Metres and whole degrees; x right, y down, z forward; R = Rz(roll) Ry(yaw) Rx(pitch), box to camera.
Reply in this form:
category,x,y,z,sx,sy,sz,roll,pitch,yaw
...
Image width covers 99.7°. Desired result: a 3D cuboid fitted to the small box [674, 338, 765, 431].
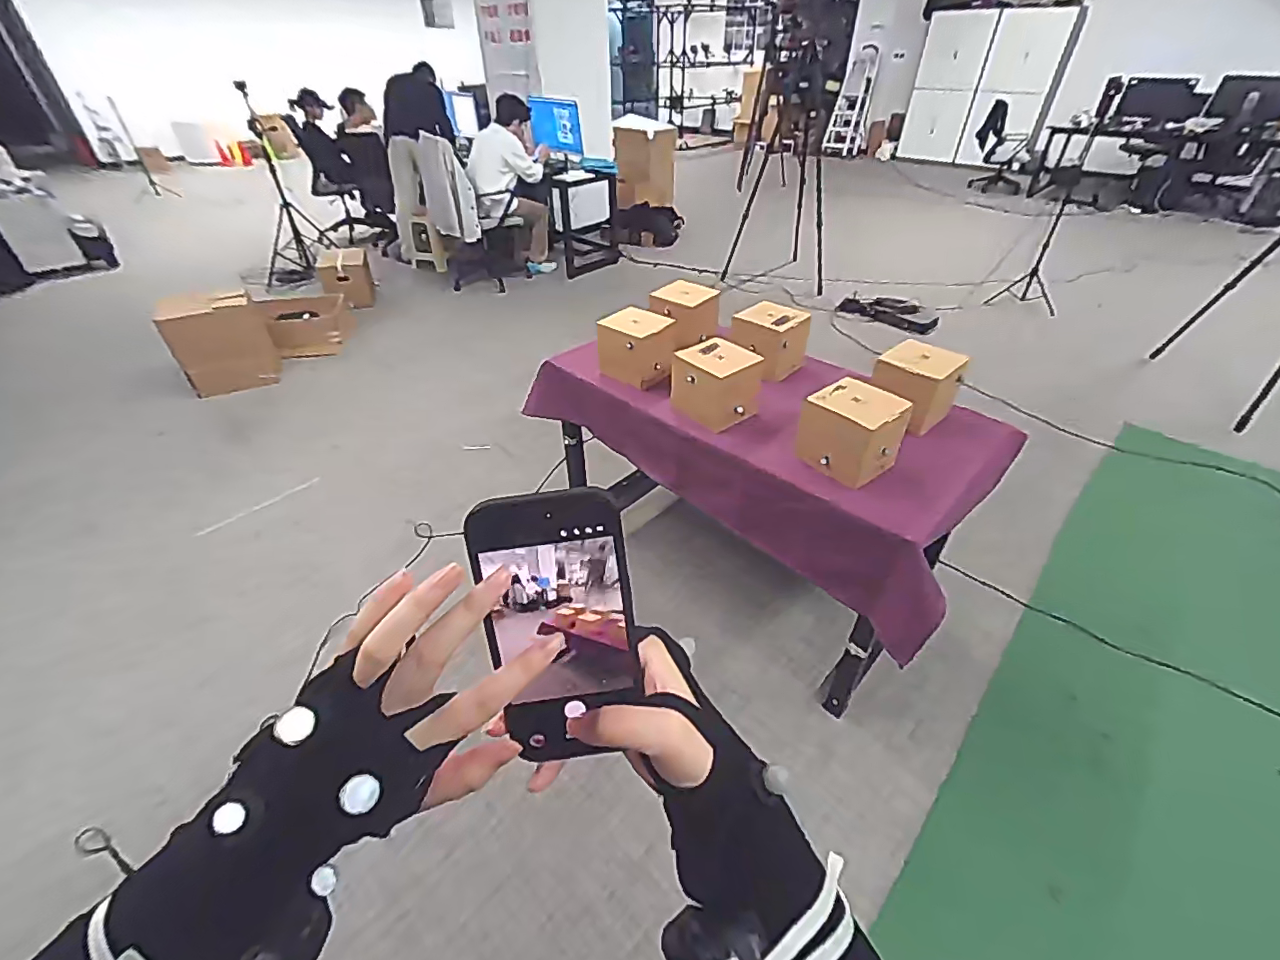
category,x,y,z,sx,sy,sz,roll,pitch,yaw
small box,0.206,-0.255,1.448,0.168,0.176,0.179,-28,47,-30

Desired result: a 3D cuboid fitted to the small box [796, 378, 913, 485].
category,x,y,z,sx,sy,sz,roll,pitch,yaw
small box,0.493,-0.109,1.265,0.168,0.176,0.179,-26,46,-29

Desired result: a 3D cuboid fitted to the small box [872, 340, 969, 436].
category,x,y,z,sx,sy,sz,roll,pitch,yaw
small box,0.724,-0.243,1.429,0.179,0.176,0.168,-30,47,-31

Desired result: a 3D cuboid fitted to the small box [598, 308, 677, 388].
category,x,y,z,sx,sy,sz,roll,pitch,yaw
small box,-0.008,-0.397,1.628,0.179,0.176,0.168,27,46,28
